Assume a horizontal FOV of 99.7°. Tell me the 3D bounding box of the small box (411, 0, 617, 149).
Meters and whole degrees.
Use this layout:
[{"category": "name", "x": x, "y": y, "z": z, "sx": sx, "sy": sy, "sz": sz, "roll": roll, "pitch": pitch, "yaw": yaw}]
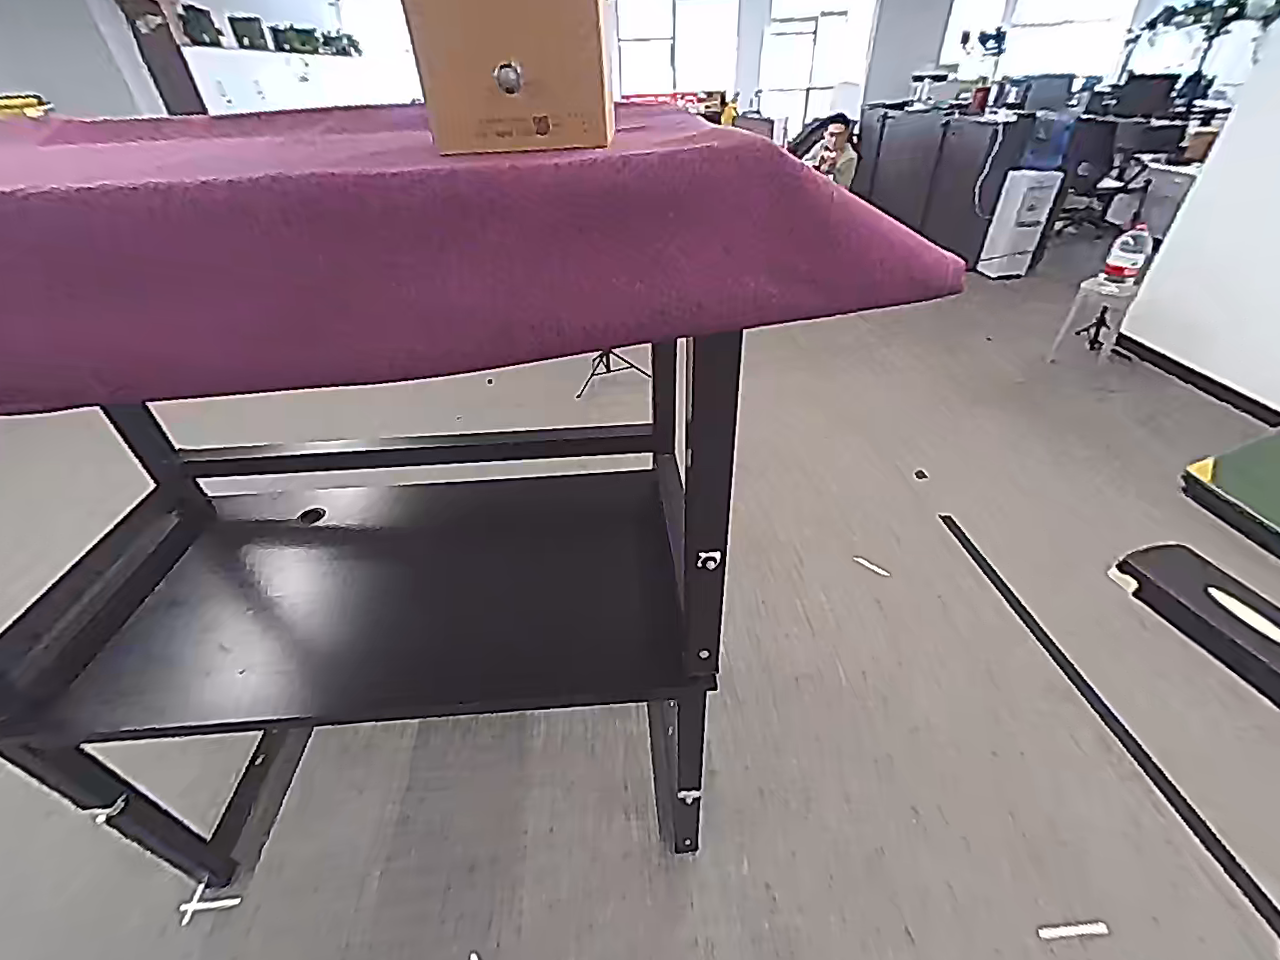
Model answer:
[{"category": "small box", "x": -0.112, "y": -0.428, "z": 0.526, "sx": 0.168, "sy": 0.176, "sz": 0.179, "roll": -2, "pitch": 36, "yaw": 2}]
